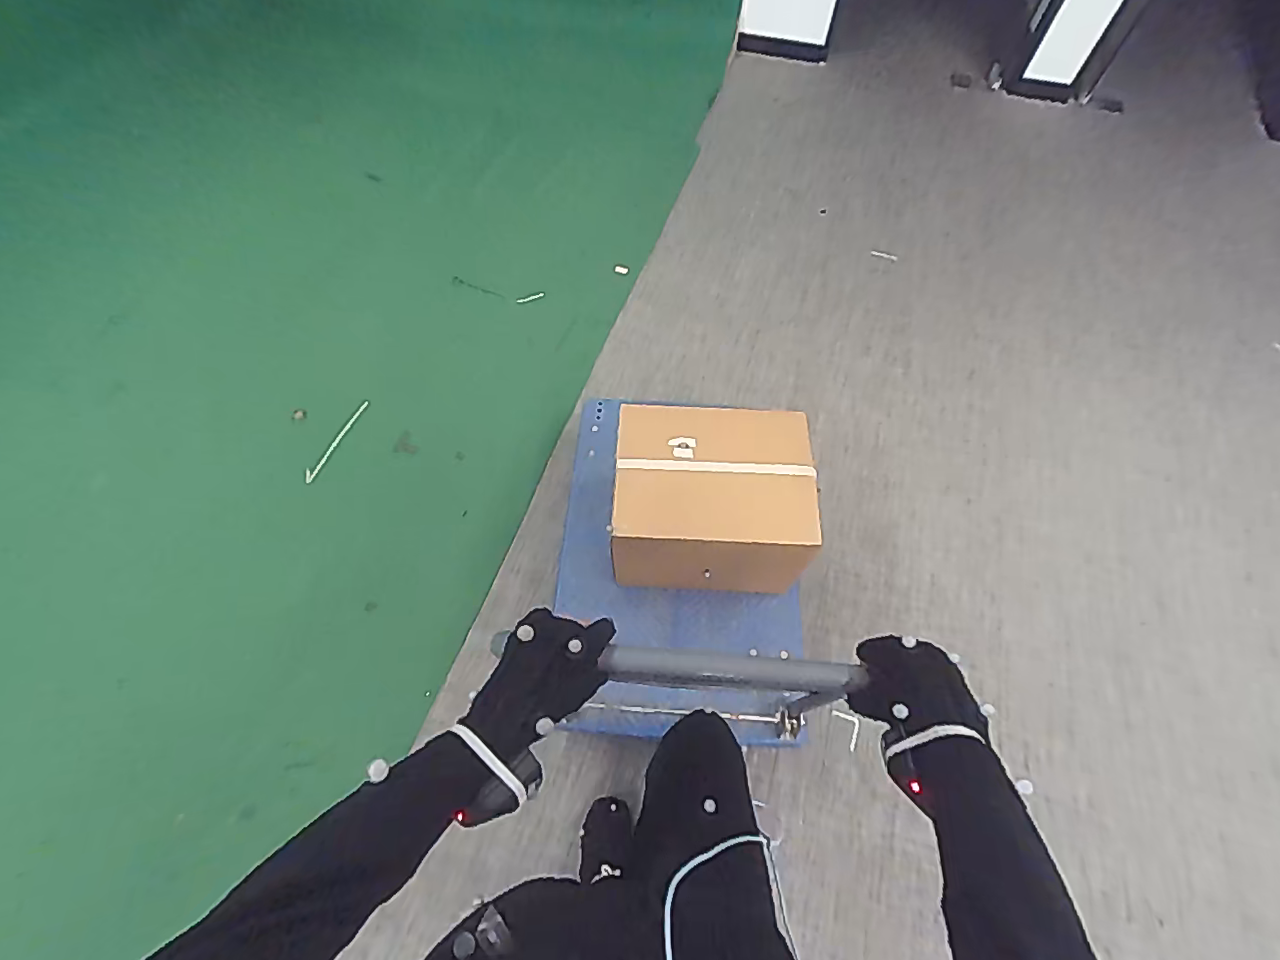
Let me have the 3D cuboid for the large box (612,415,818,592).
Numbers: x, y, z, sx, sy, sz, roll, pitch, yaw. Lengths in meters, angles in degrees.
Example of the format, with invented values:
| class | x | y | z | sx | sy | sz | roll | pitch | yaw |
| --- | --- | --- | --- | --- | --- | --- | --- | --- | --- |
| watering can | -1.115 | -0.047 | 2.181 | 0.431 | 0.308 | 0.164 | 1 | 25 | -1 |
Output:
| class | x | y | z | sx | sy | sz | roll | pitch | yaw |
| --- | --- | --- | --- | --- | --- | --- | --- | --- | --- |
| large box | 0.153 | 0.064 | 1.243 | 0.408 | 0.320 | 0.320 | 2 | 60 | 2 |
